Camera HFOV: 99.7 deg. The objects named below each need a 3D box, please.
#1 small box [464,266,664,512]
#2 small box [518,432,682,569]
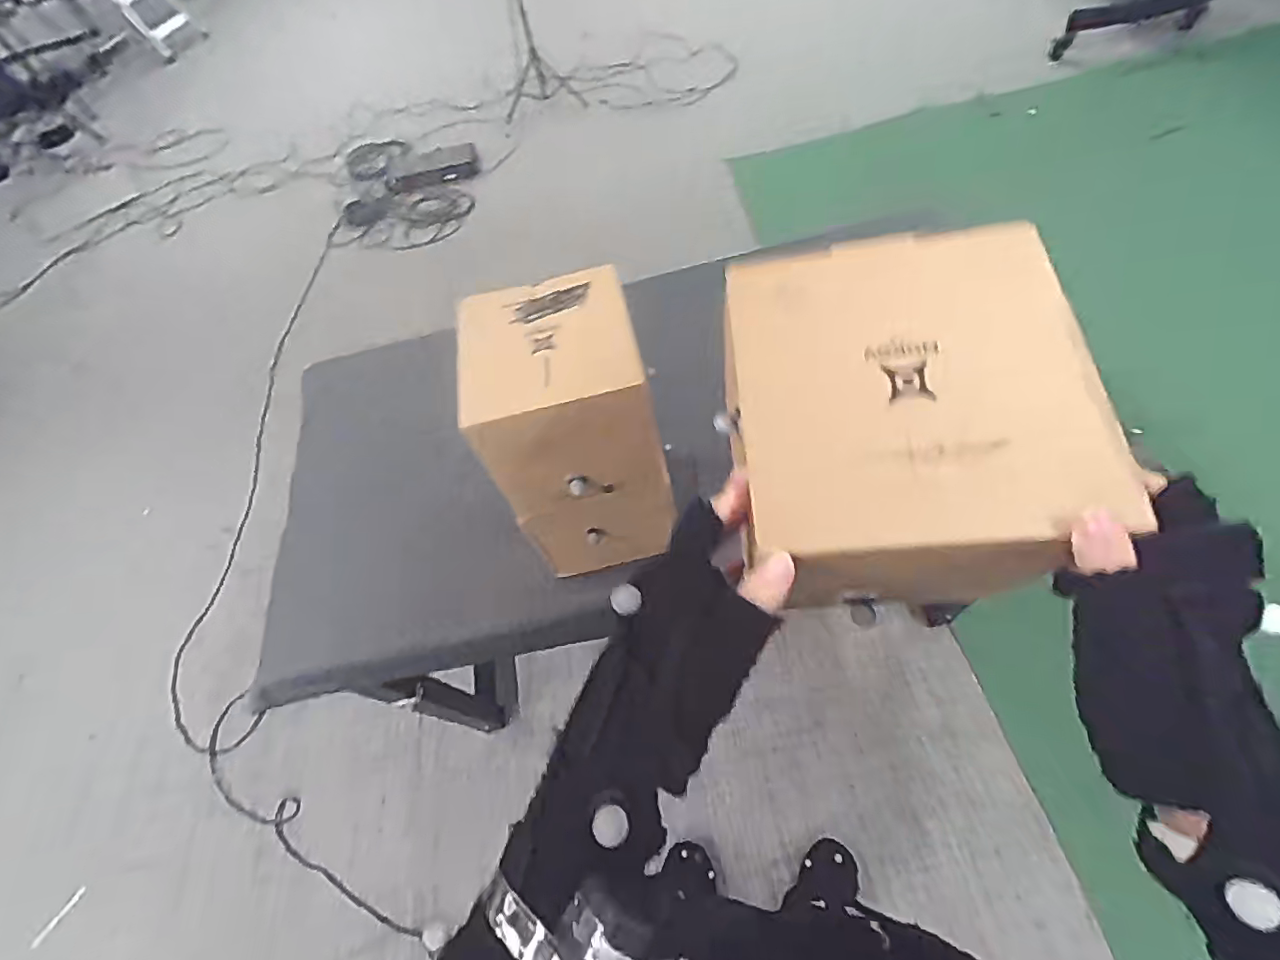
[{"bbox_3d":[-0.074,-0.091,0.576,0.168,0.176,0.179,-12,56,1],"label":"small box"},{"bbox_3d":[-0.051,0.001,0.711,0.179,0.176,0.168,-13,56,1],"label":"small box"}]
